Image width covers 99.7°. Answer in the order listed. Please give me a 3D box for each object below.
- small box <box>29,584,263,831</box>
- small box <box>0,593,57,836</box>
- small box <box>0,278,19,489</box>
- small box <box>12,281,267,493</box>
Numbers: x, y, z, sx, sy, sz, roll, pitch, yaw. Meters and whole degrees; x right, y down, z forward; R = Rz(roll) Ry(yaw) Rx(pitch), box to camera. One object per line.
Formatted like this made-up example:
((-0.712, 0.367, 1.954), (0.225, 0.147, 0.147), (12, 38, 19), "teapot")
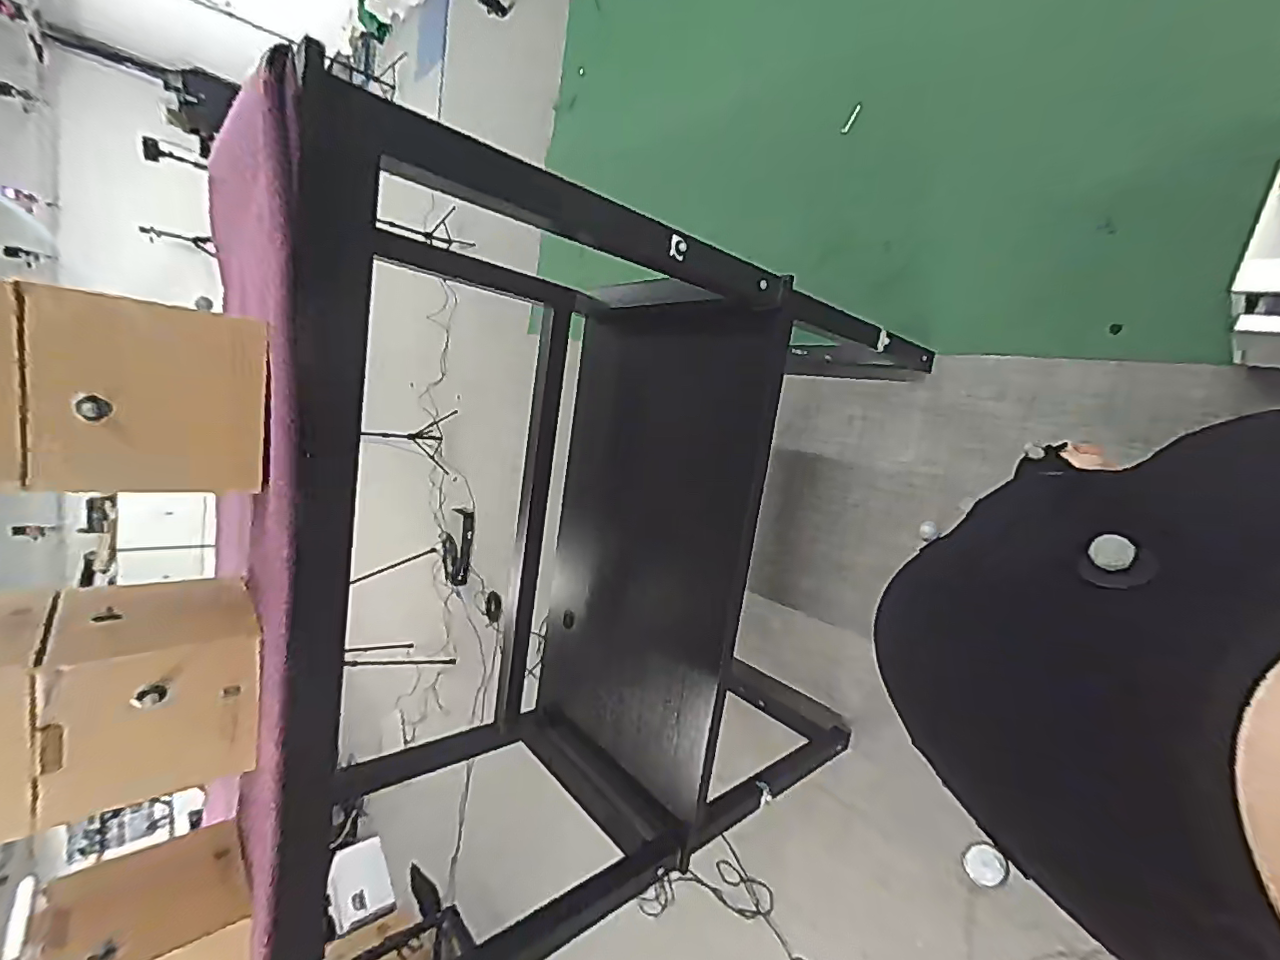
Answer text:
((-0.523, 0.221, 0.587), (0.179, 0.176, 0.168), (20, 102, 47), "small box")
((-0.646, 0.217, 0.477), (0.168, 0.176, 0.179), (20, 103, 45), "small box")
((-0.615, -0.090, 0.449), (0.168, 0.176, 0.179), (17, 102, 49), "small box")
((-0.487, -0.087, 0.549), (0.168, 0.176, 0.179), (17, 102, 49), "small box")
